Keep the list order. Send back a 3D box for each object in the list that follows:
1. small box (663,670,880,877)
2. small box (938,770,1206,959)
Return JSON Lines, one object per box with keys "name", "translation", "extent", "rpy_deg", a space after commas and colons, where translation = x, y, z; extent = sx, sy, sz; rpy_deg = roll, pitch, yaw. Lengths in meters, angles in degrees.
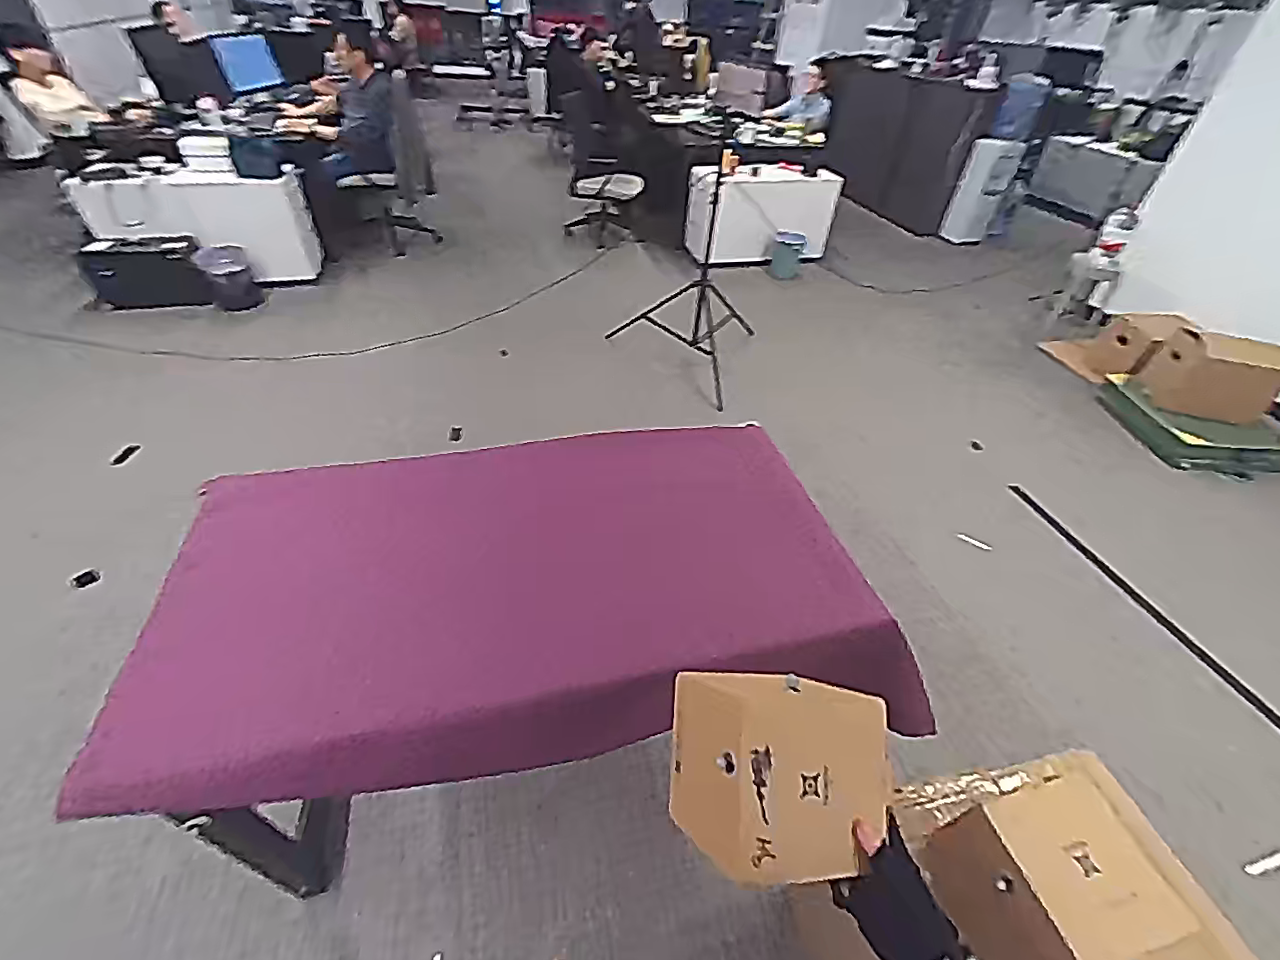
{"name": "small box", "translation": [0.141, 0.311, 0.612], "extent": [0.179, 0.176, 0.168], "rpy_deg": [8, 75, -18]}
{"name": "small box", "translation": [0.531, 0.513, 0.701], "extent": [0.168, 0.176, 0.179], "rpy_deg": [-8, 45, -11]}
